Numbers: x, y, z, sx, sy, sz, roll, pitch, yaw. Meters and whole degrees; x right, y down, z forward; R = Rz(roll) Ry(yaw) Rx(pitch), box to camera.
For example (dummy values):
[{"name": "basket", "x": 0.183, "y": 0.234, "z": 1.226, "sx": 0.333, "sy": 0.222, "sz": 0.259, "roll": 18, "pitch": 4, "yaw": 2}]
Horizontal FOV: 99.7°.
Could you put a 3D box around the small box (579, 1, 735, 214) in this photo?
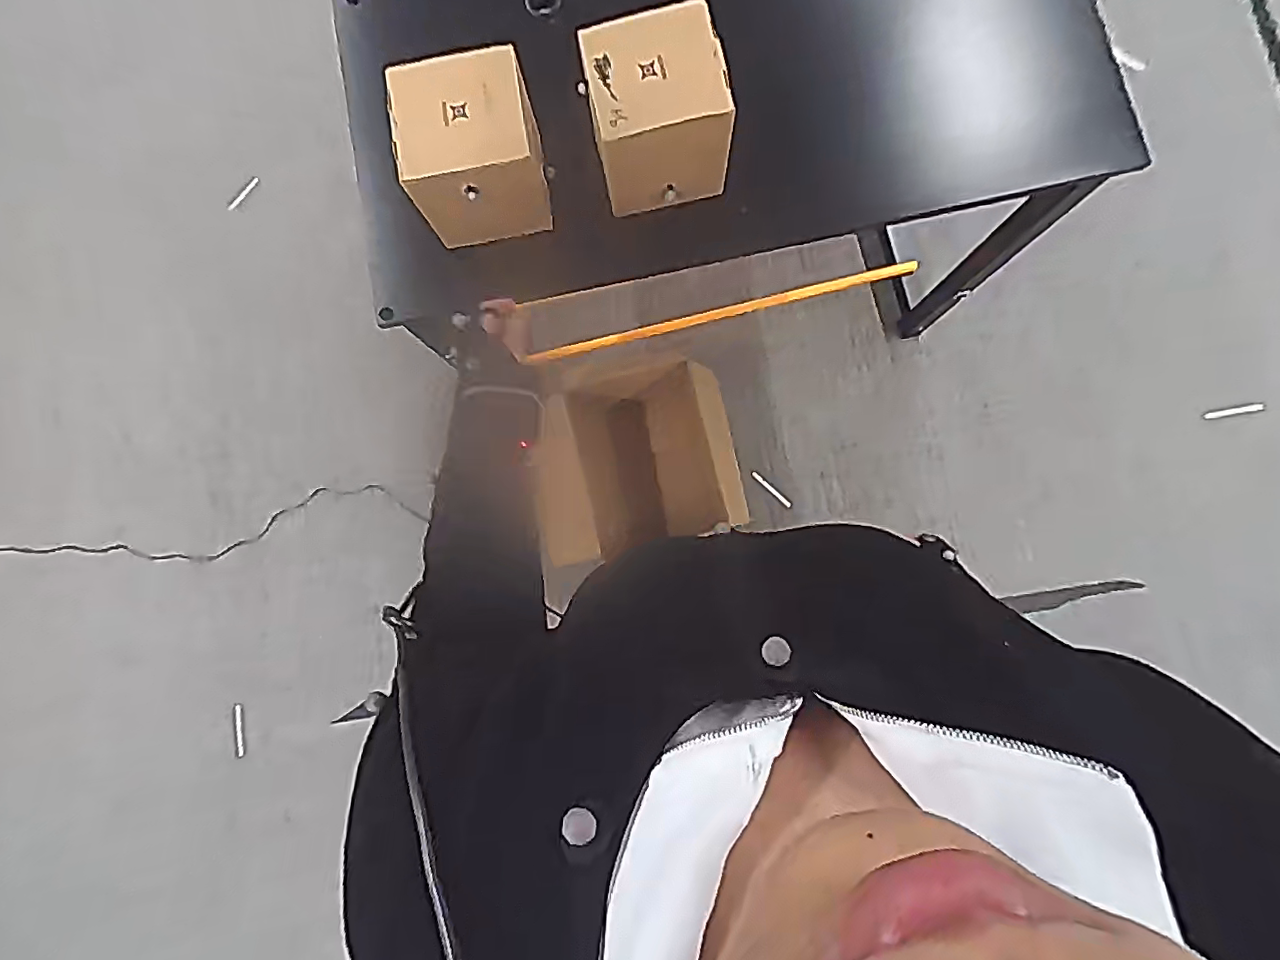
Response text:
[{"name": "small box", "x": 0.022, "y": -0.515, "z": 0.771, "sx": 0.179, "sy": 0.176, "sz": 0.168, "roll": -13, "pitch": 83, "yaw": 1}]

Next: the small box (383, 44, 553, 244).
[{"name": "small box", "x": -0.236, "y": -0.466, "z": 0.778, "sx": 0.179, "sy": 0.176, "sz": 0.168, "roll": -11, "pitch": 84, "yaw": 0}]
